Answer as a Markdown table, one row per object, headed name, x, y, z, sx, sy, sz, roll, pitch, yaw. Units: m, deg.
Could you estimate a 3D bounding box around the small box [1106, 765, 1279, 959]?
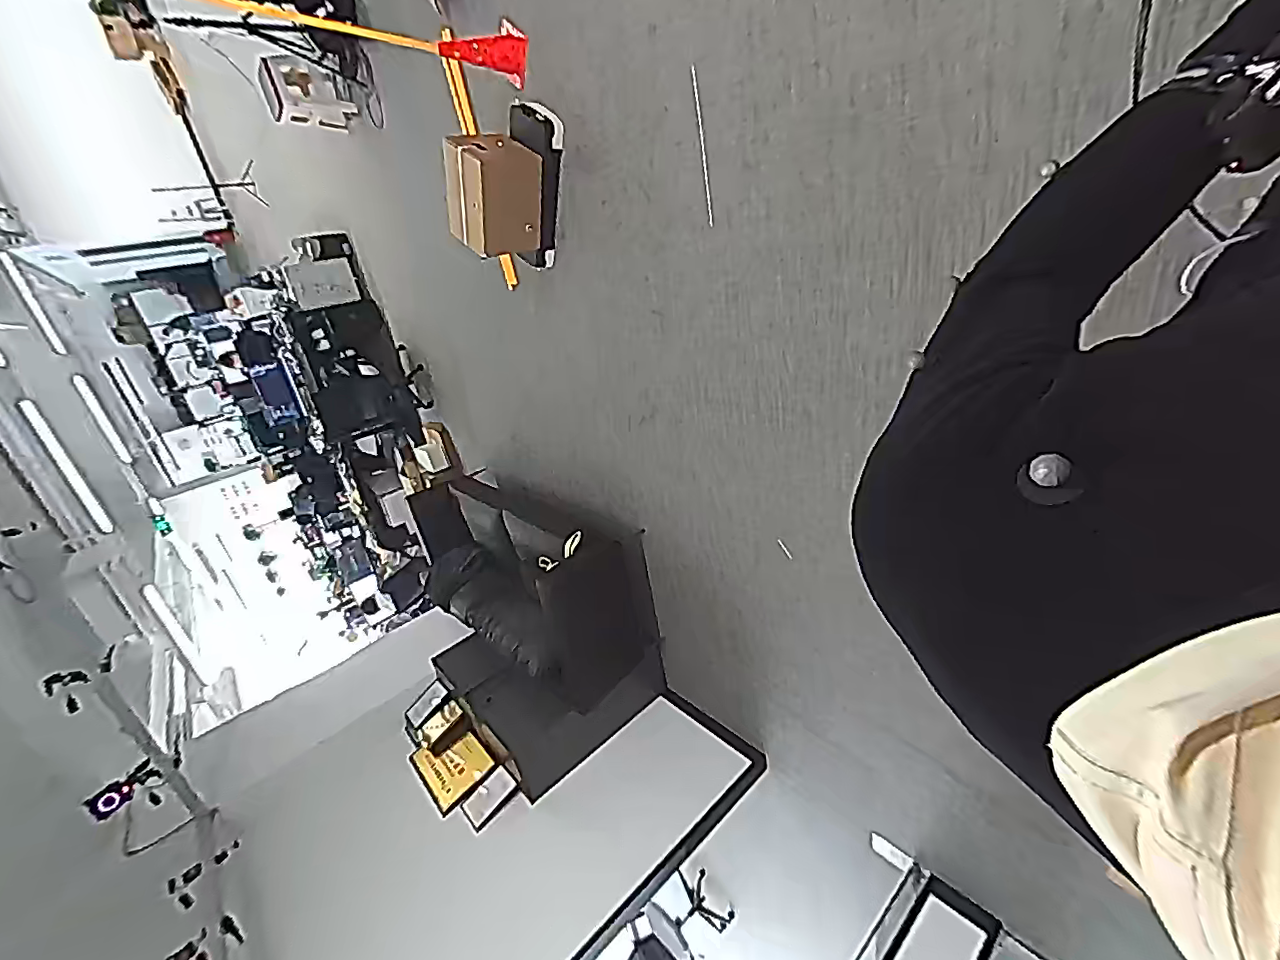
| name | x | y | z | sx | sy | sz | roll | pitch | yaw |
| --- | --- | --- | --- | --- | --- | --- | --- | --- | --- |
| small box | 0.943 | 0.634 | 0.918 | 0.179 | 0.176 | 0.168 | 21 | 128 | 46 |
